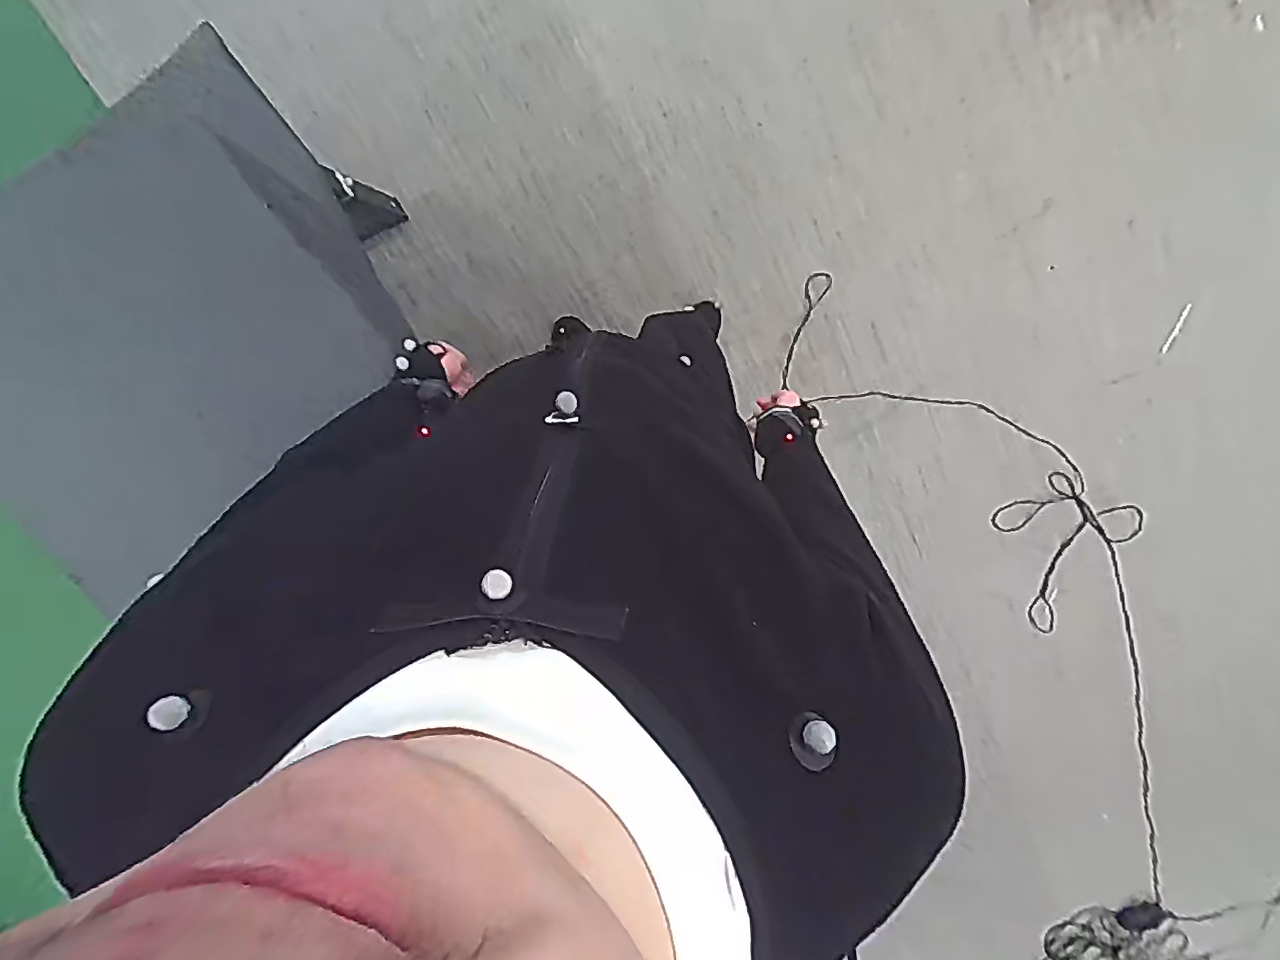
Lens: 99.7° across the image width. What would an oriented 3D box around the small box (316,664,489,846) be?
[{"bbox_3d":[-0.361,0.430,0.868,0.179,0.176,0.168,-24,106,6],"label":"small box"}]
